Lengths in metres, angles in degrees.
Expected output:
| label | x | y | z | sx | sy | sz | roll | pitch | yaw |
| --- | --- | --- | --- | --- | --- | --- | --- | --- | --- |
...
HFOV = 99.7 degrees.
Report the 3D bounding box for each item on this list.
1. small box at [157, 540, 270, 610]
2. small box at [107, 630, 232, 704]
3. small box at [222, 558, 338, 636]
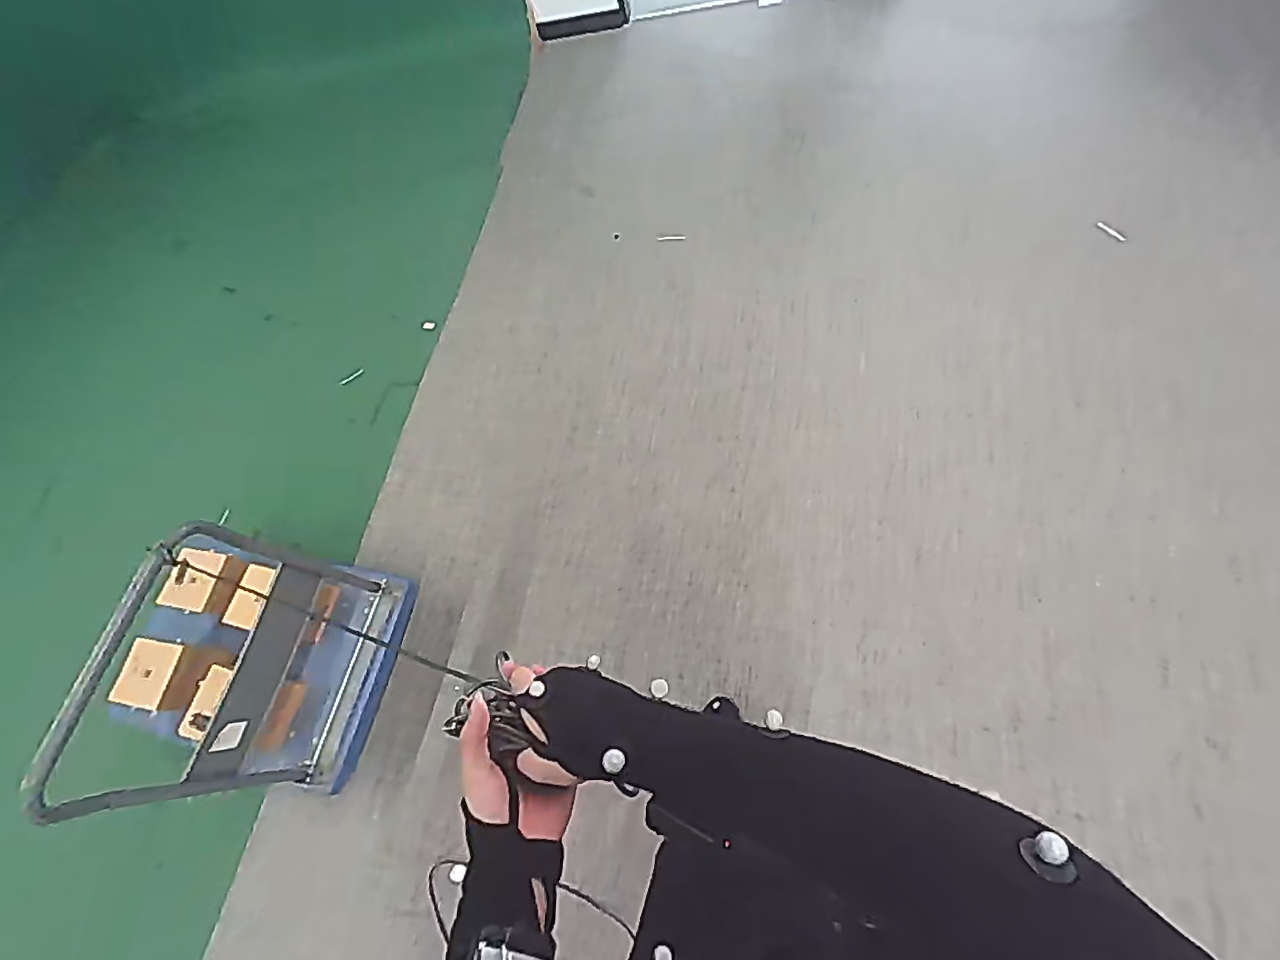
| label | x | y | z | sx | sy | sz | roll | pitch | yaw |
| --- | --- | --- | --- | --- | --- | --- | --- | --- | --- |
| small box | -1.251 | 0.290 | 1.601 | 0.179 | 0.176 | 0.168 | 7 | 70 | 15 |
| small box | -1.304 | 0.526 | 1.514 | 0.179 | 0.176 | 0.168 | 5 | 68 | 15 |
| small box | -1.008 | 0.334 | 1.526 | 0.179 | 0.176 | 0.168 | 10 | 70 | 16 |
